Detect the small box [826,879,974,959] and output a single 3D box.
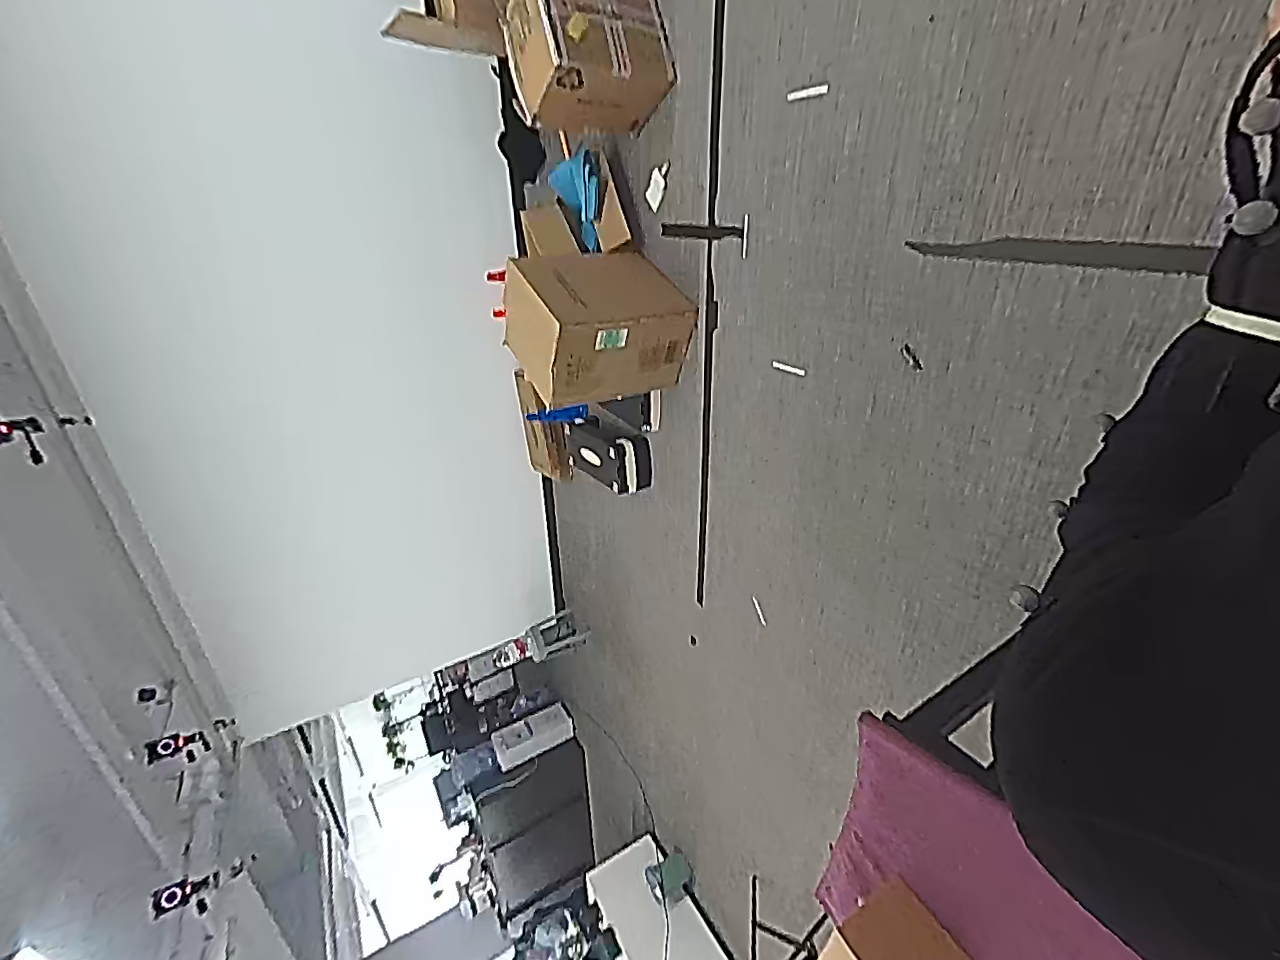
[{"bbox_3d":[0.451,0.845,0.925,0.179,0.176,0.168,43,138,47],"label":"small box"}]
